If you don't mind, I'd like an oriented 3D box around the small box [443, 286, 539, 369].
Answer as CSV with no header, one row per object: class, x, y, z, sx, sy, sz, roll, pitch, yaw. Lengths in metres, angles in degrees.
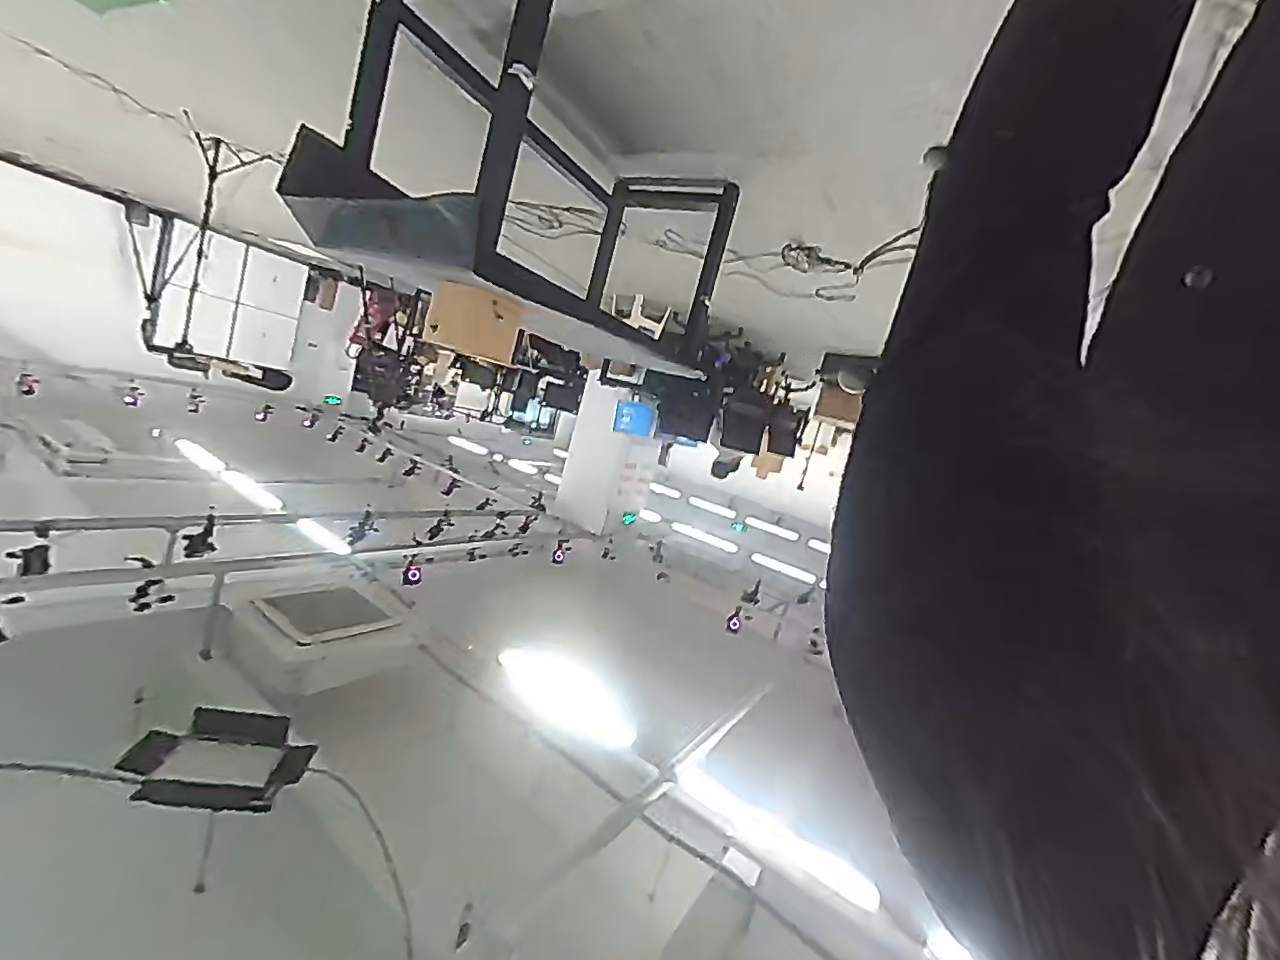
small box,-0.401,-0.417,1.474,0.179,0.176,0.168,21,-170,31
